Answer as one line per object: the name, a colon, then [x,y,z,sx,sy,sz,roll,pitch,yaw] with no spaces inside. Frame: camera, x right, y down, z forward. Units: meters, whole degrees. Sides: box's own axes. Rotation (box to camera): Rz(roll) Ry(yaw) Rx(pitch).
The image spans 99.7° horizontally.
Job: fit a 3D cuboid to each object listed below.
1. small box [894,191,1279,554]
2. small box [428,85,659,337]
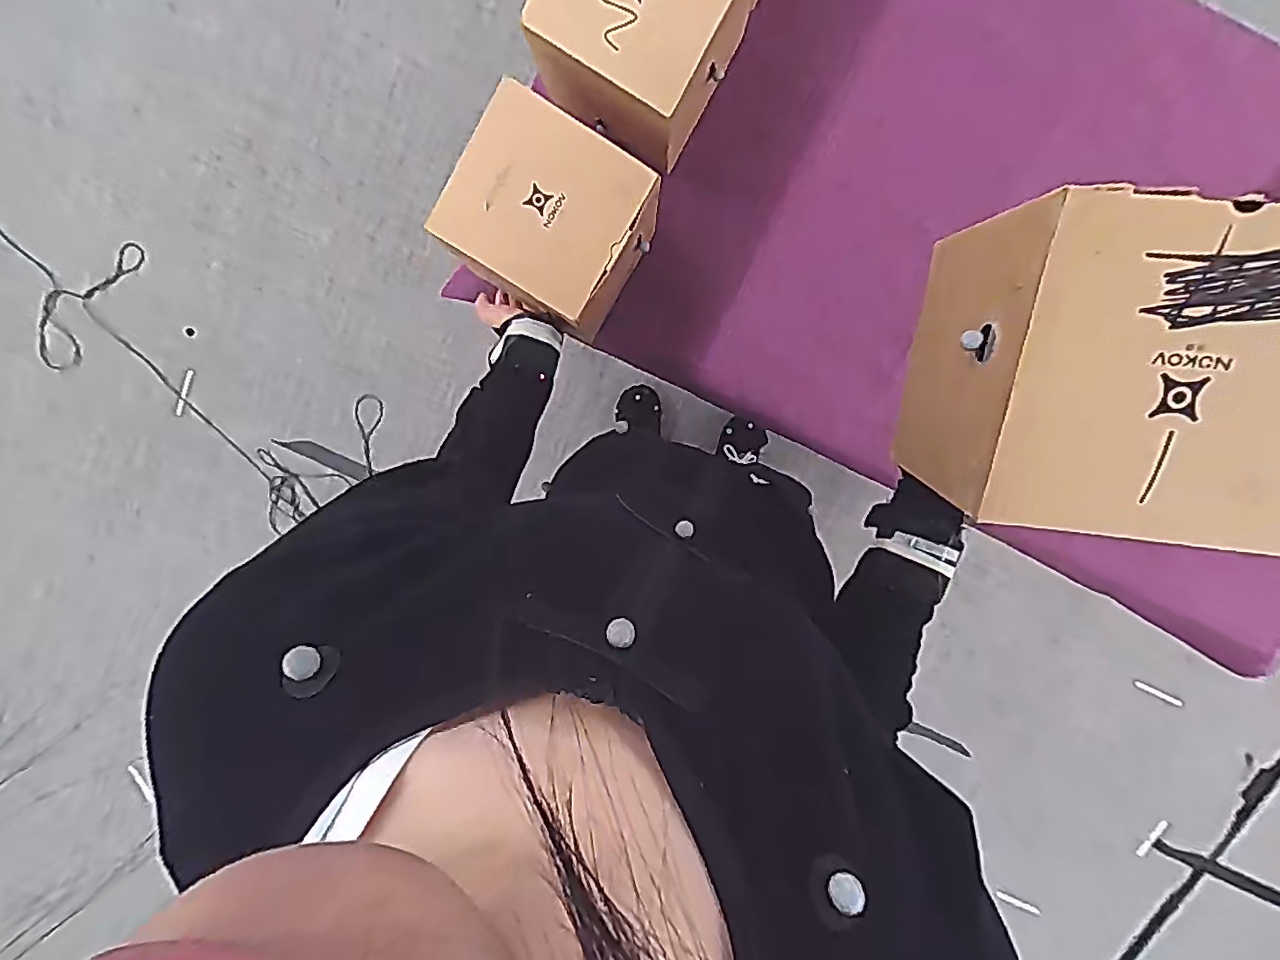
small box: [0.292,-0.071,0.361,0.168,0.176,0.179,7,106,6]
small box: [-0.096,-0.277,0.609,0.179,0.176,0.168,31,94,-4]
